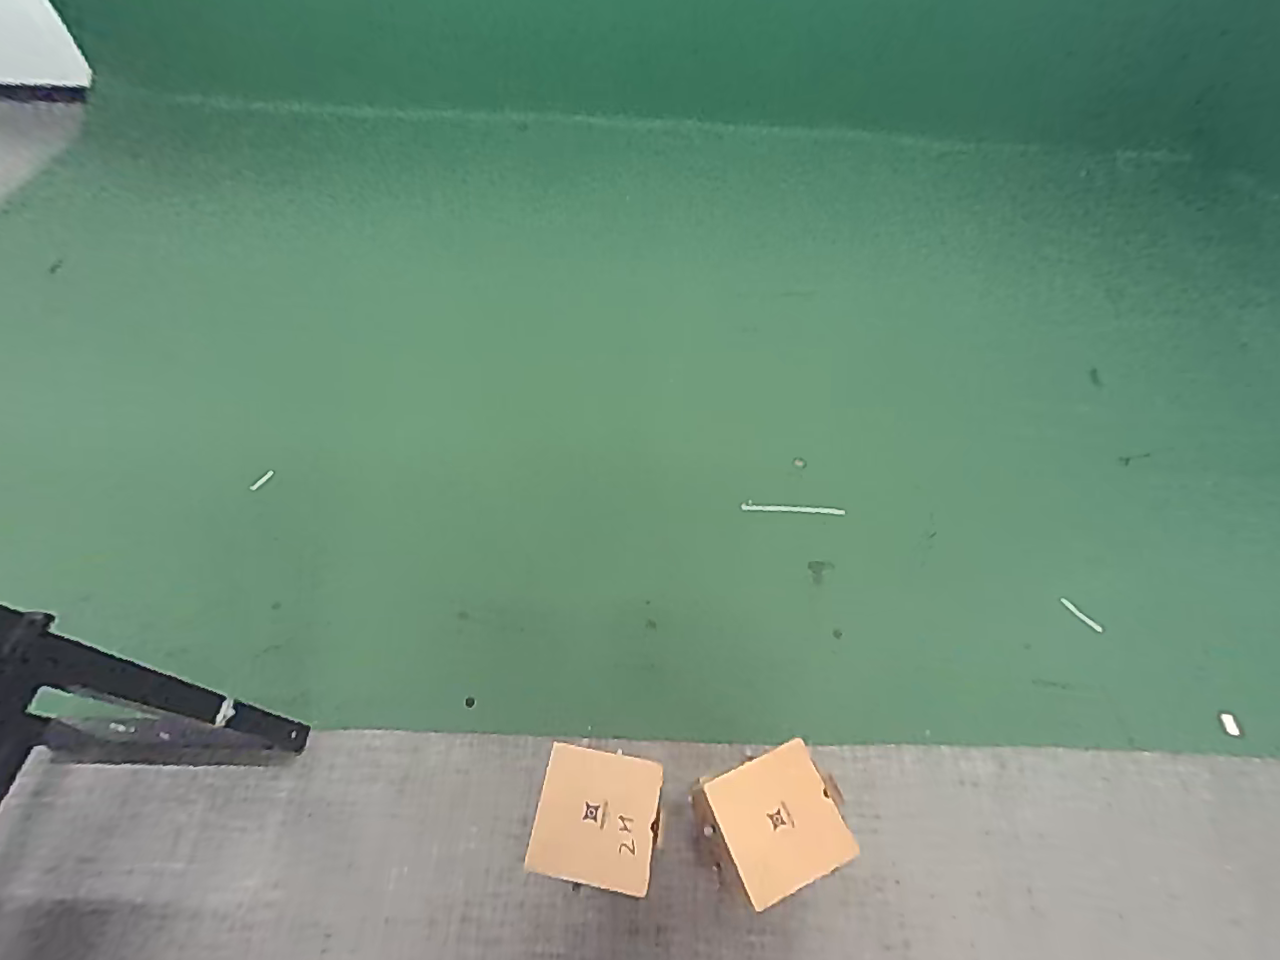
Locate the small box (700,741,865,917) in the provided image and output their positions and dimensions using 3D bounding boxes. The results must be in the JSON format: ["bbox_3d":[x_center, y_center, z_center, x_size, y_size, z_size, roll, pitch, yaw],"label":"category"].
[{"bbox_3d":[0.203,0.532,0.836,0.179,0.176,0.168,-19,60,-14],"label":"small box"}]

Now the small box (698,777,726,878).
[{"bbox_3d":[0.218,0.708,1.110,0.179,0.176,0.168,-4,57,-5],"label":"small box"}]

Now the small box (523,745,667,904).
[{"bbox_3d":[-0.060,0.524,0.827,0.179,0.176,0.168,9,56,5],"label":"small box"}]
